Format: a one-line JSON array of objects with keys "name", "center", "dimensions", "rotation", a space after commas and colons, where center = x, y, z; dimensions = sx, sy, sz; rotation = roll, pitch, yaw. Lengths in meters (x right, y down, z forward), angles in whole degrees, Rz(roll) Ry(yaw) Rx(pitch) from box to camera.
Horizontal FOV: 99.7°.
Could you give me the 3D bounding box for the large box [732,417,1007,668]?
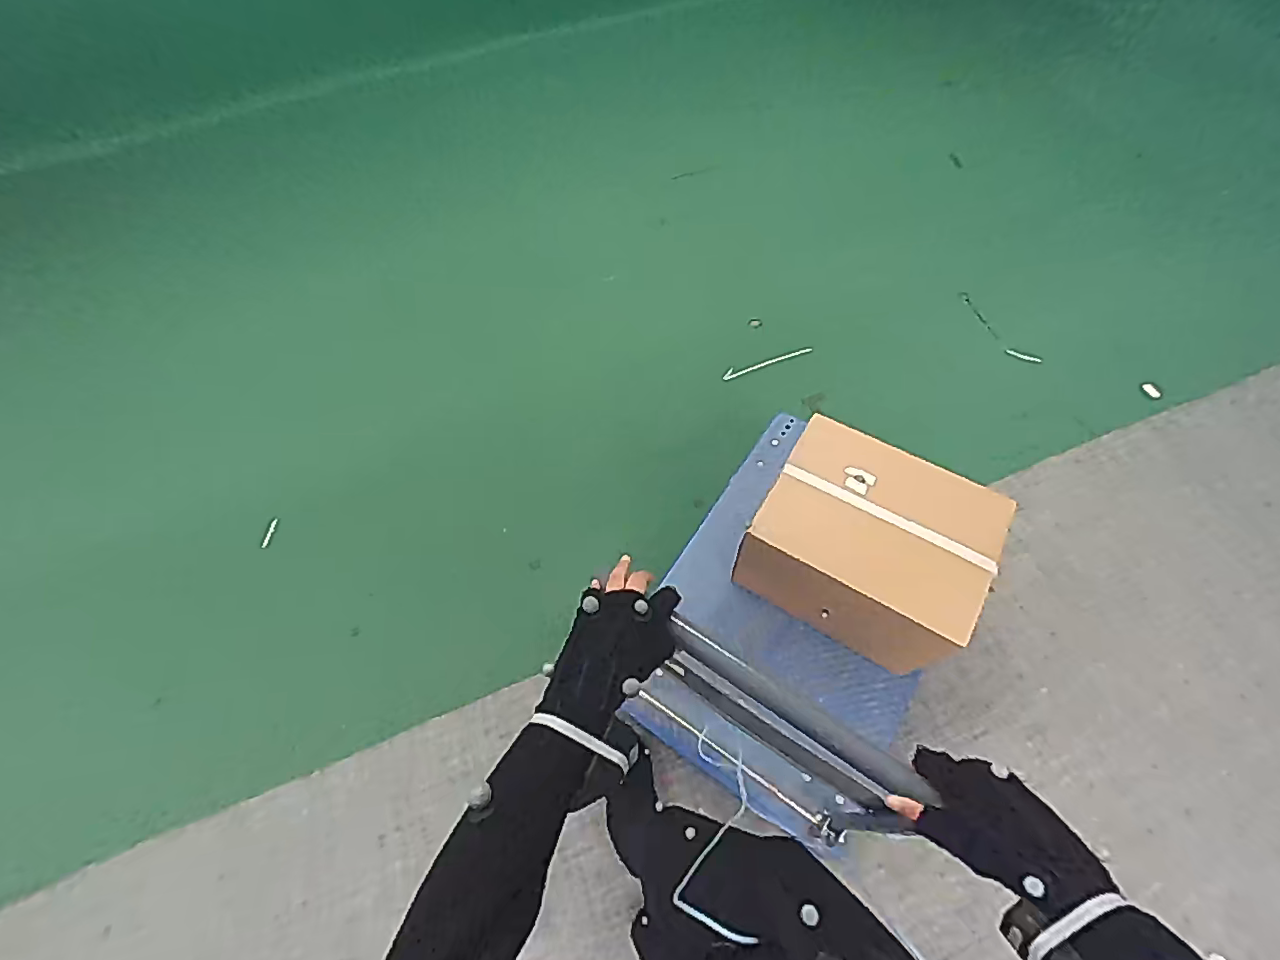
[{"name": "large box", "center": [0.449, 0.138, 1.135], "dimensions": [0.408, 0.320, 0.320], "rotation": [28, 67, 18]}]
